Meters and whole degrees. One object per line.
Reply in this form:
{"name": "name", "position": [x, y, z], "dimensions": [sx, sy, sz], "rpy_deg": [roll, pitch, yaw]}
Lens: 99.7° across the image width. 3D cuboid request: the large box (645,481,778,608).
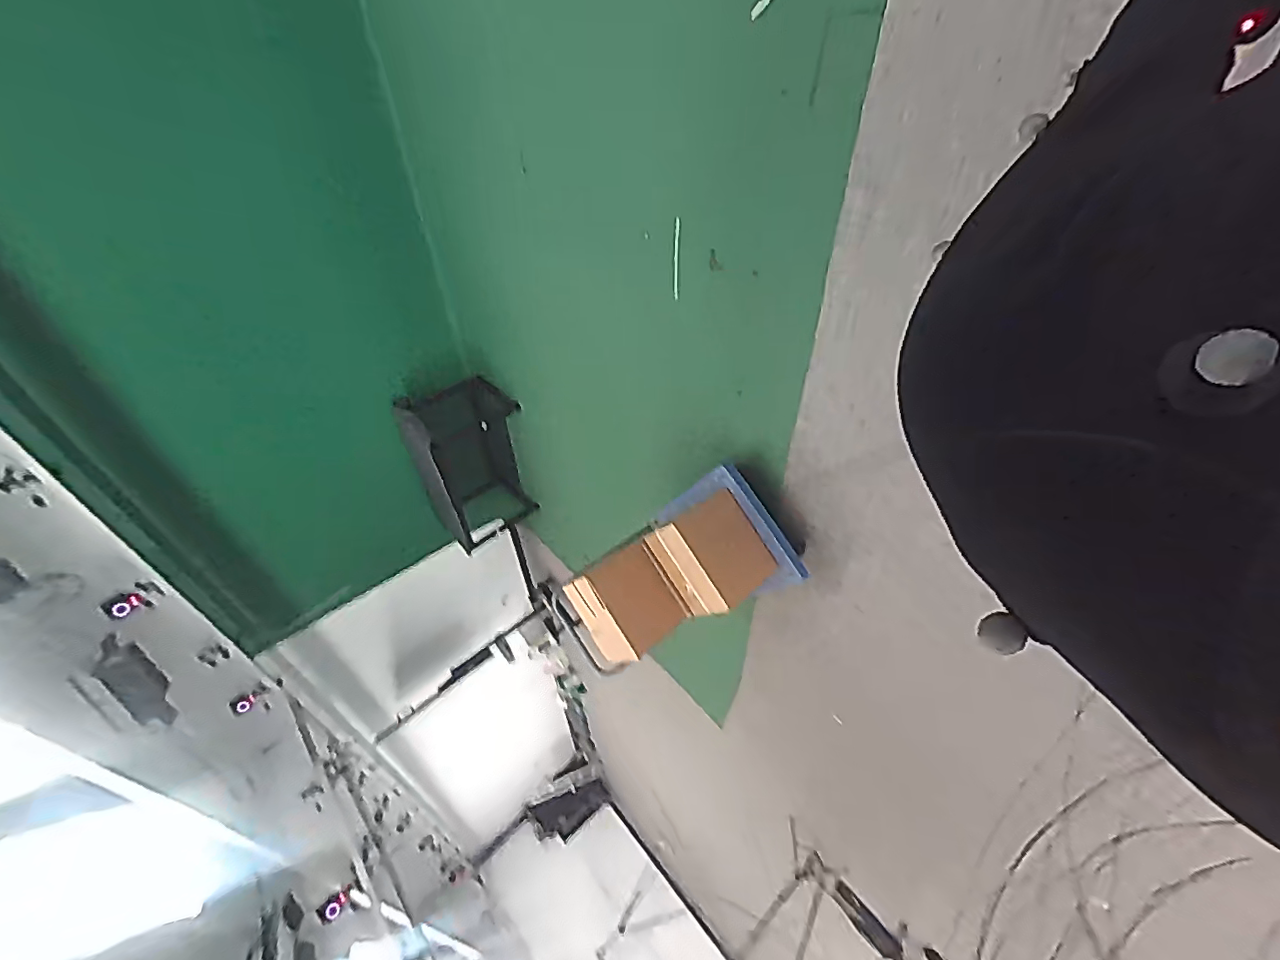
{"name": "large box", "position": [0.297, 0.277, 2.288], "dimensions": [0.408, 0.320, 0.320], "rpy_deg": [56, 153, 2]}
